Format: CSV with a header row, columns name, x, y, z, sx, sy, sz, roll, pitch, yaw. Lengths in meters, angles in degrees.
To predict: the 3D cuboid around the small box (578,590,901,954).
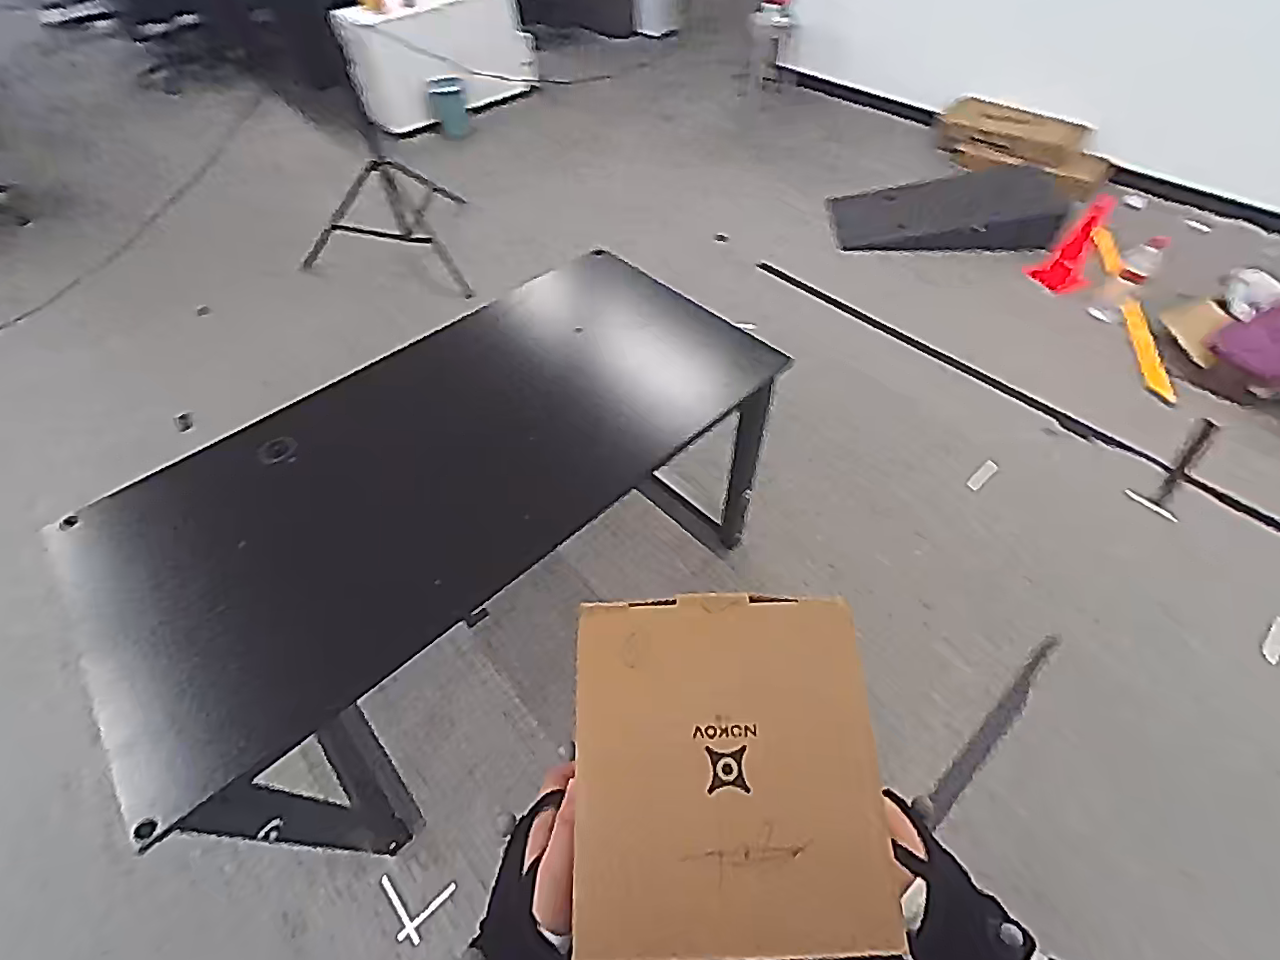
name,x,y,z,sx,sy,sz,roll,pitch,yaw
small box,0.046,0.182,0.375,0.168,0.176,0.179,-3,68,-1
